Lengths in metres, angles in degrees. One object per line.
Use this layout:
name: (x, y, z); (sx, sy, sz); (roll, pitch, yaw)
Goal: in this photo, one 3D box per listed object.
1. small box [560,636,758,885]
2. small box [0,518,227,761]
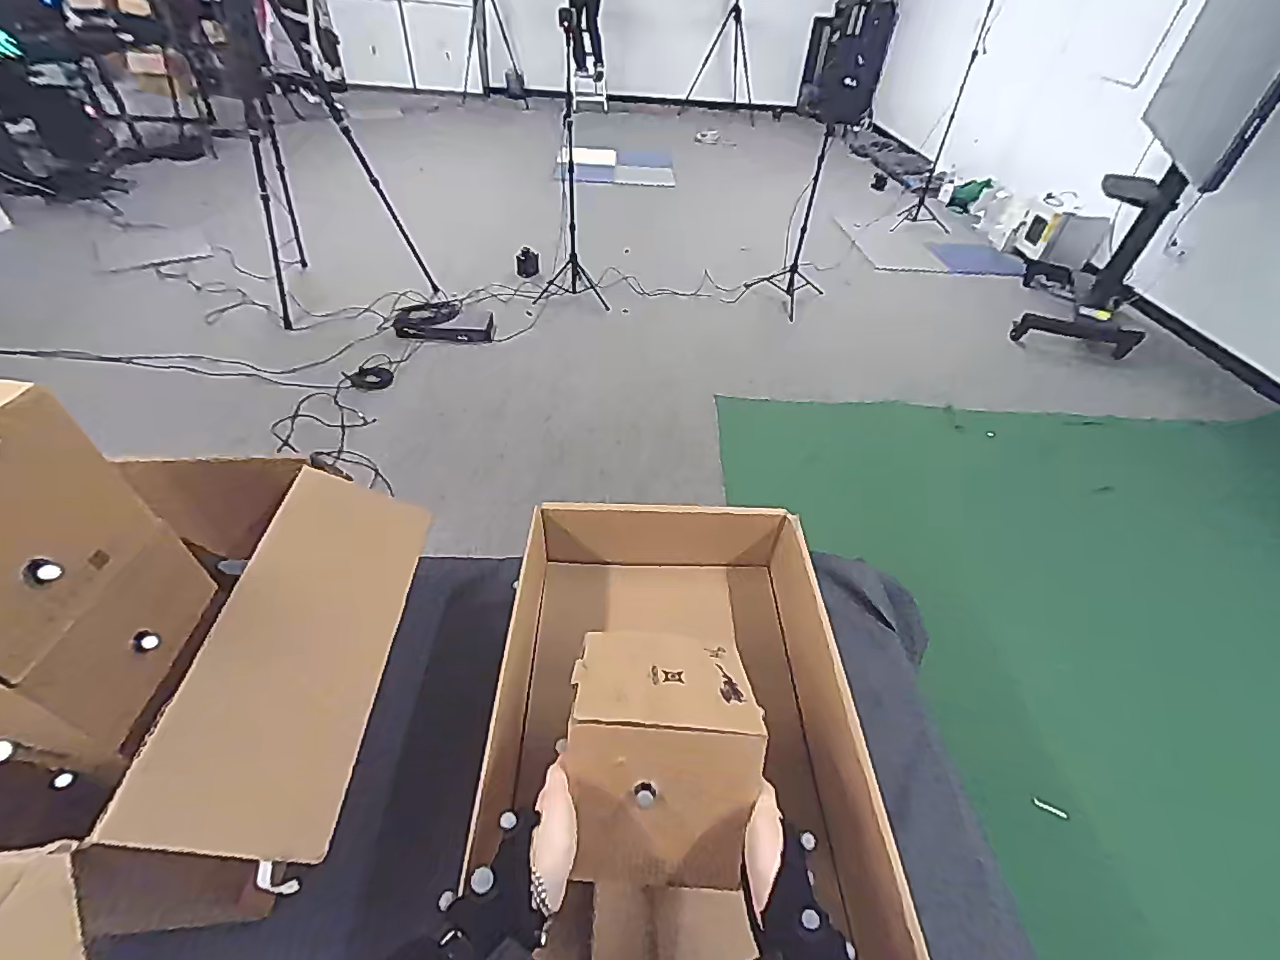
small box: (0.014, 0.284, 0.570); (0.179, 0.176, 0.168); (5, 12, -2)
small box: (-0.554, 0.149, 0.527); (0.168, 0.176, 0.179); (4, 46, -2)
